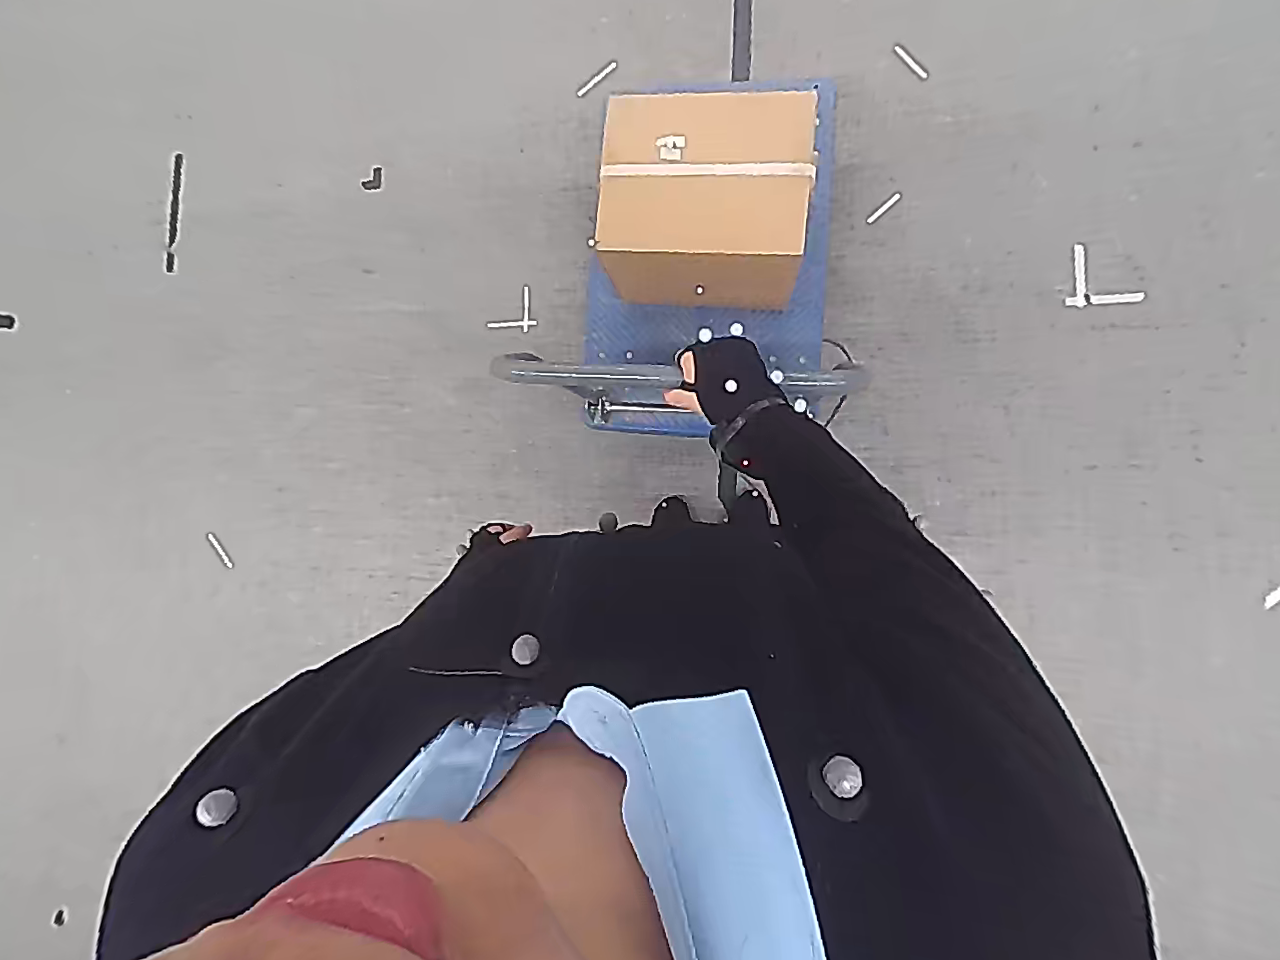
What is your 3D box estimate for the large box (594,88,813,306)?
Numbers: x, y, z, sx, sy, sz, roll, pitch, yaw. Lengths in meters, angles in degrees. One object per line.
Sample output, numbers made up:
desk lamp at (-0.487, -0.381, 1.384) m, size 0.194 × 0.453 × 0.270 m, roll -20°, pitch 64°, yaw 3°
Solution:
large box at (0.144, -0.580, 1.174) m, size 0.408 × 0.320 × 0.320 m, roll 5°, pitch 88°, yaw 10°
